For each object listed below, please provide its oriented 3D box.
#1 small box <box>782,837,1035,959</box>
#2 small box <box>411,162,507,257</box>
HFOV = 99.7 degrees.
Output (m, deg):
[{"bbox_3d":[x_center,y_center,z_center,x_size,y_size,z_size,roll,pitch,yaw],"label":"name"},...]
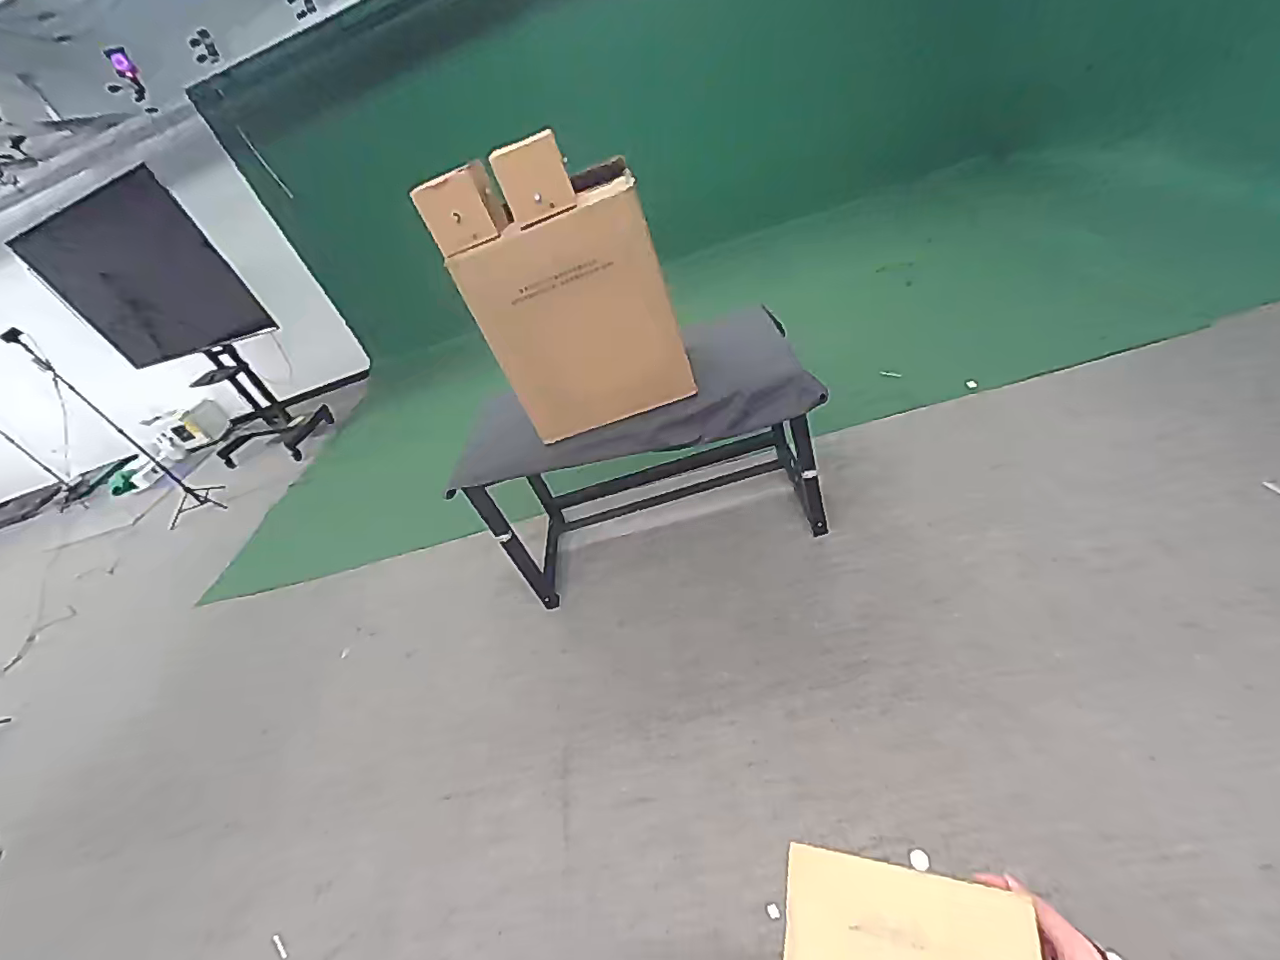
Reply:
[{"bbox_3d":[0.208,0.407,0.425,0.168,0.176,0.179,-3,53,24],"label":"small box"},{"bbox_3d":[-0.477,-0.724,1.456,0.168,0.176,0.179,-17,36,9],"label":"small box"}]
